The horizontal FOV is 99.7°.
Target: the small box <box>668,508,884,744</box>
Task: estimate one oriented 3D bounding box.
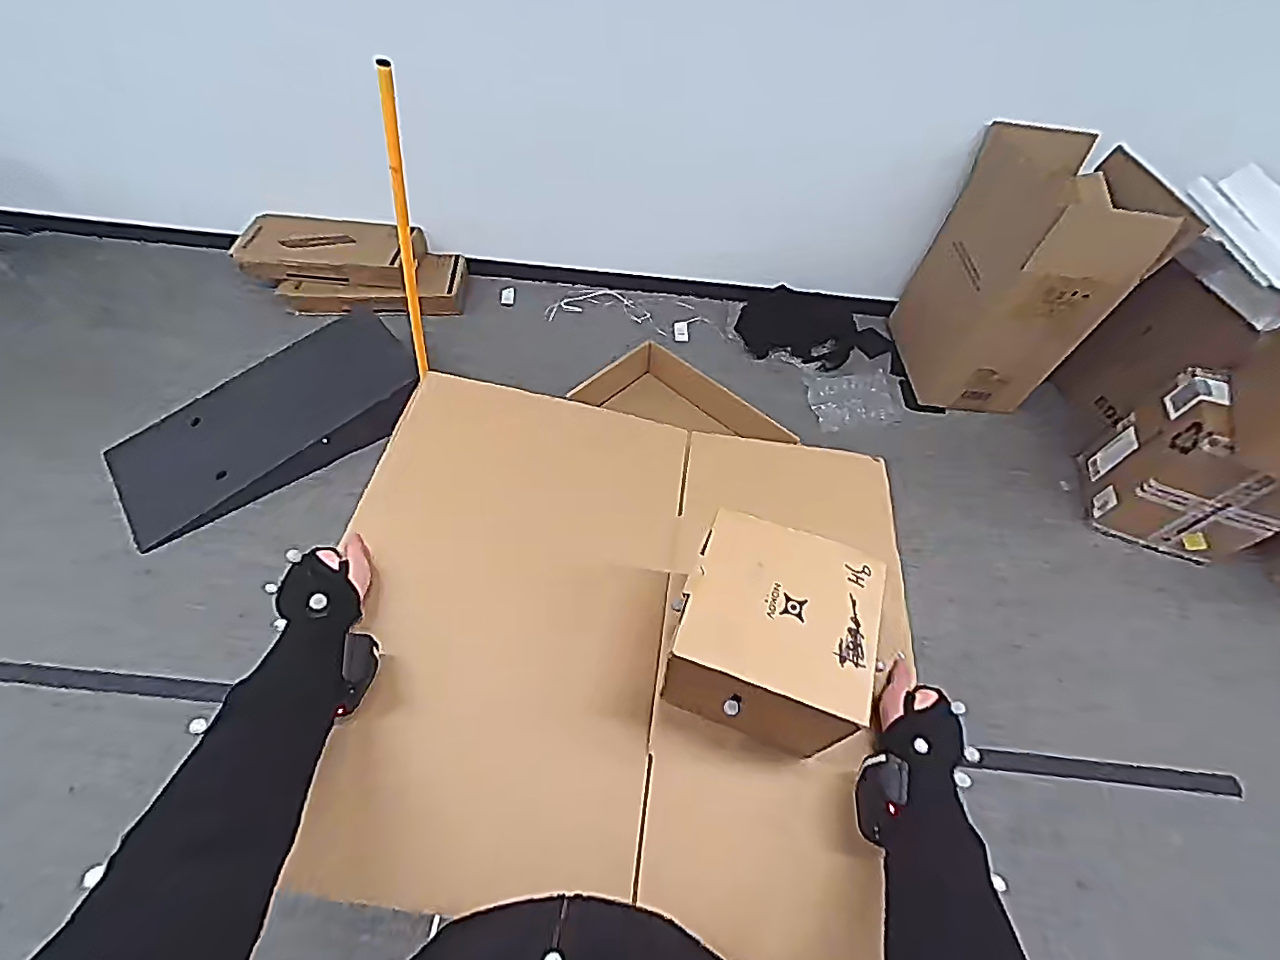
[{"bbox_3d":[0.135,0.161,0.578,0.179,0.176,0.168,17,57,11],"label":"small box"}]
